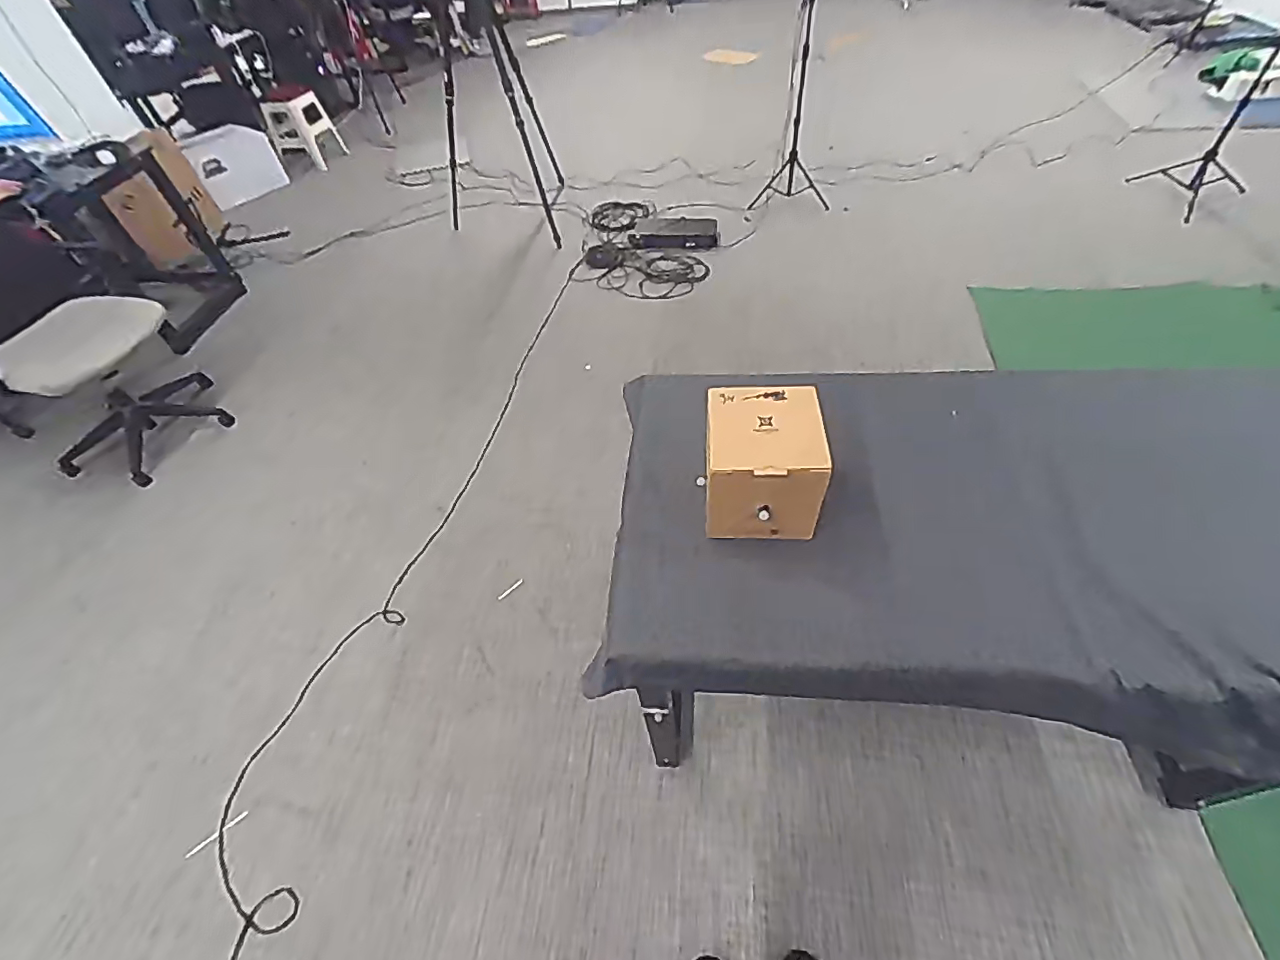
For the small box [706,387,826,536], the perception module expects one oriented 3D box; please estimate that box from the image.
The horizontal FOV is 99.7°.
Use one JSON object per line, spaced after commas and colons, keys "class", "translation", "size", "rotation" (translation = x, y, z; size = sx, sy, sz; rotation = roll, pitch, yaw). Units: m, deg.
{"class": "small box", "translation": [0.189, -0.025, 0.857], "size": [0.168, 0.176, 0.179], "rotation": [0, 51, 7]}
